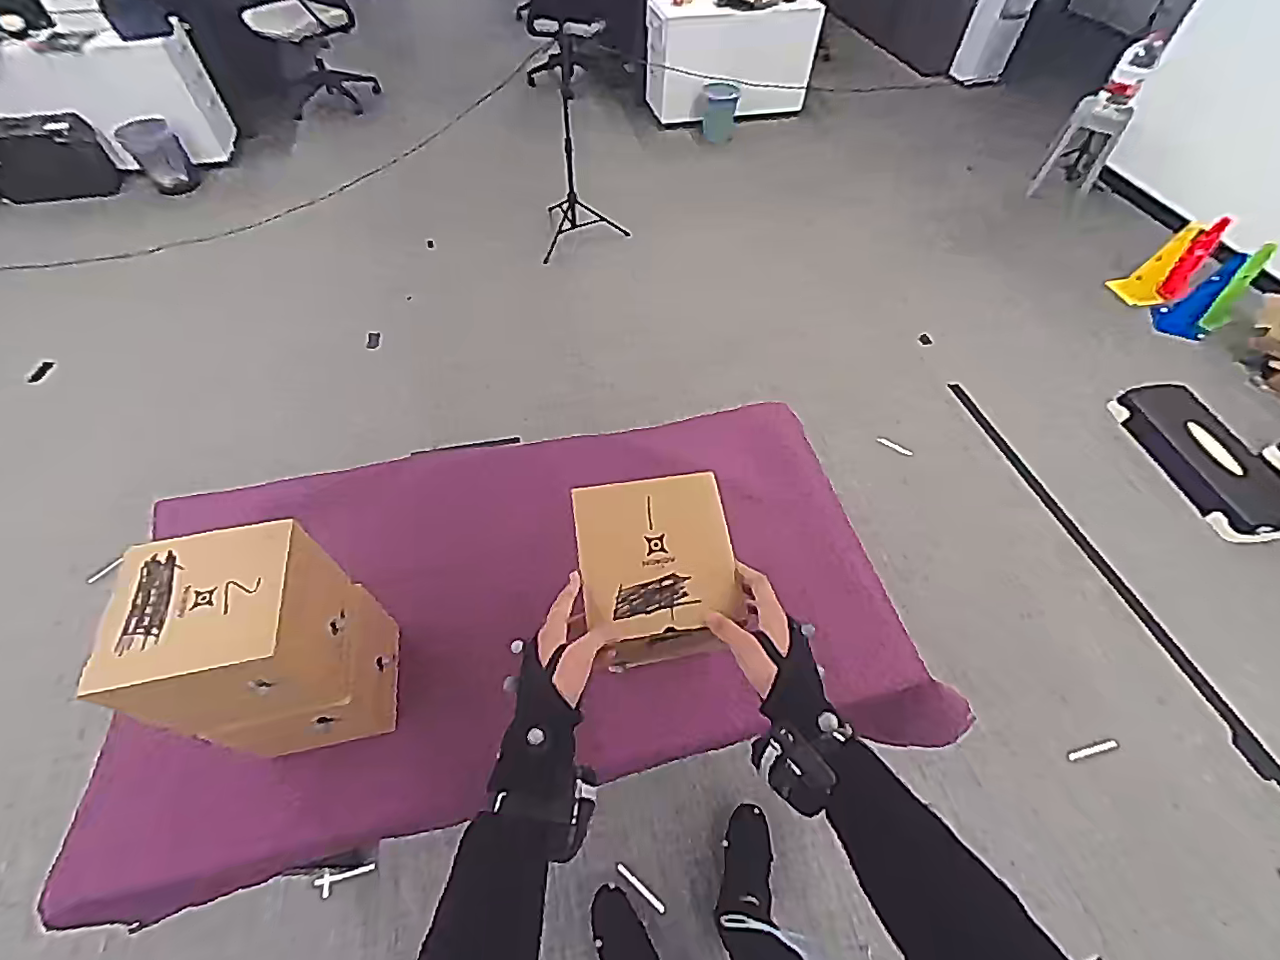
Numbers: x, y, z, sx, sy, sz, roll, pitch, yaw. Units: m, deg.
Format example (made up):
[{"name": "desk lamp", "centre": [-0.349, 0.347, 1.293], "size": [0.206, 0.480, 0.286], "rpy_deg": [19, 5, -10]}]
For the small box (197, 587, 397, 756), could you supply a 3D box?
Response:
[{"name": "small box", "centre": [-0.457, 0.271, 0.758], "size": [0.179, 0.176, 0.168], "rpy_deg": [-9, 55, -8]}]

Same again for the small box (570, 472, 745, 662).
[{"name": "small box", "centre": [0.013, 0.112, 0.642], "size": [0.168, 0.176, 0.179], "rpy_deg": [-7, 63, -6]}]
